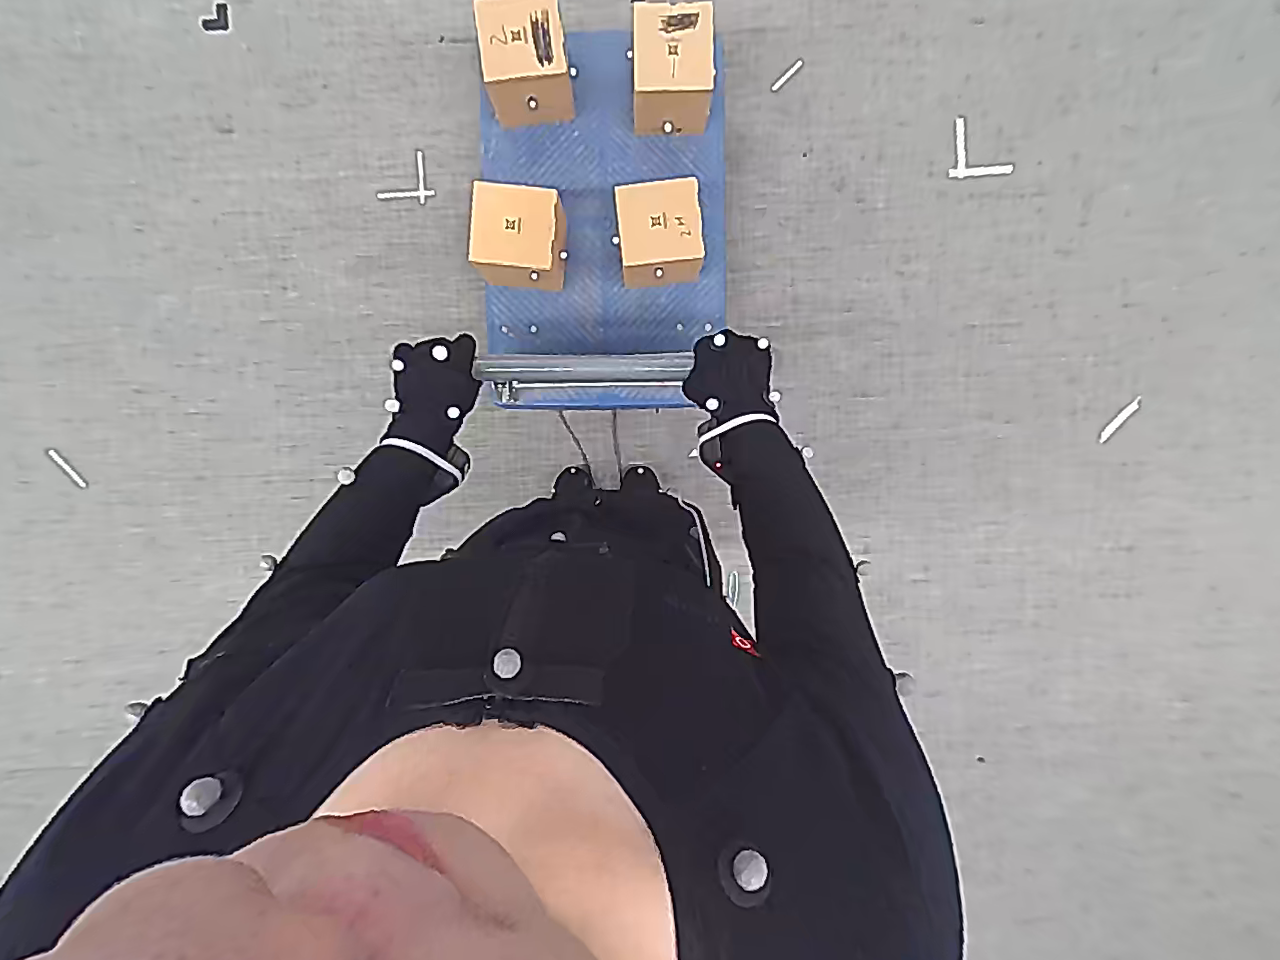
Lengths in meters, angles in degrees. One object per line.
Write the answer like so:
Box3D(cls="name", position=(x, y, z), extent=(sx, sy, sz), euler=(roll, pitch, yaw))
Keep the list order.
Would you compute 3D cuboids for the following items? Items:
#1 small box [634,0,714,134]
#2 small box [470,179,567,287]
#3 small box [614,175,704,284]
Box3D(cls="small box", position=(0.069, -0.901, 1.190), extent=(0.168, 0.176, 0.179), euler=(-1, 94, 0))
Box3D(cls="small box", position=(-0.265, -0.543, 1.211), extent=(0.179, 0.176, 0.168), euler=(5, 93, -2))
Box3D(cls="small box", position=(0.042, -0.550, 1.211), extent=(0.179, 0.176, 0.168), euler=(-6, 94, 0))
